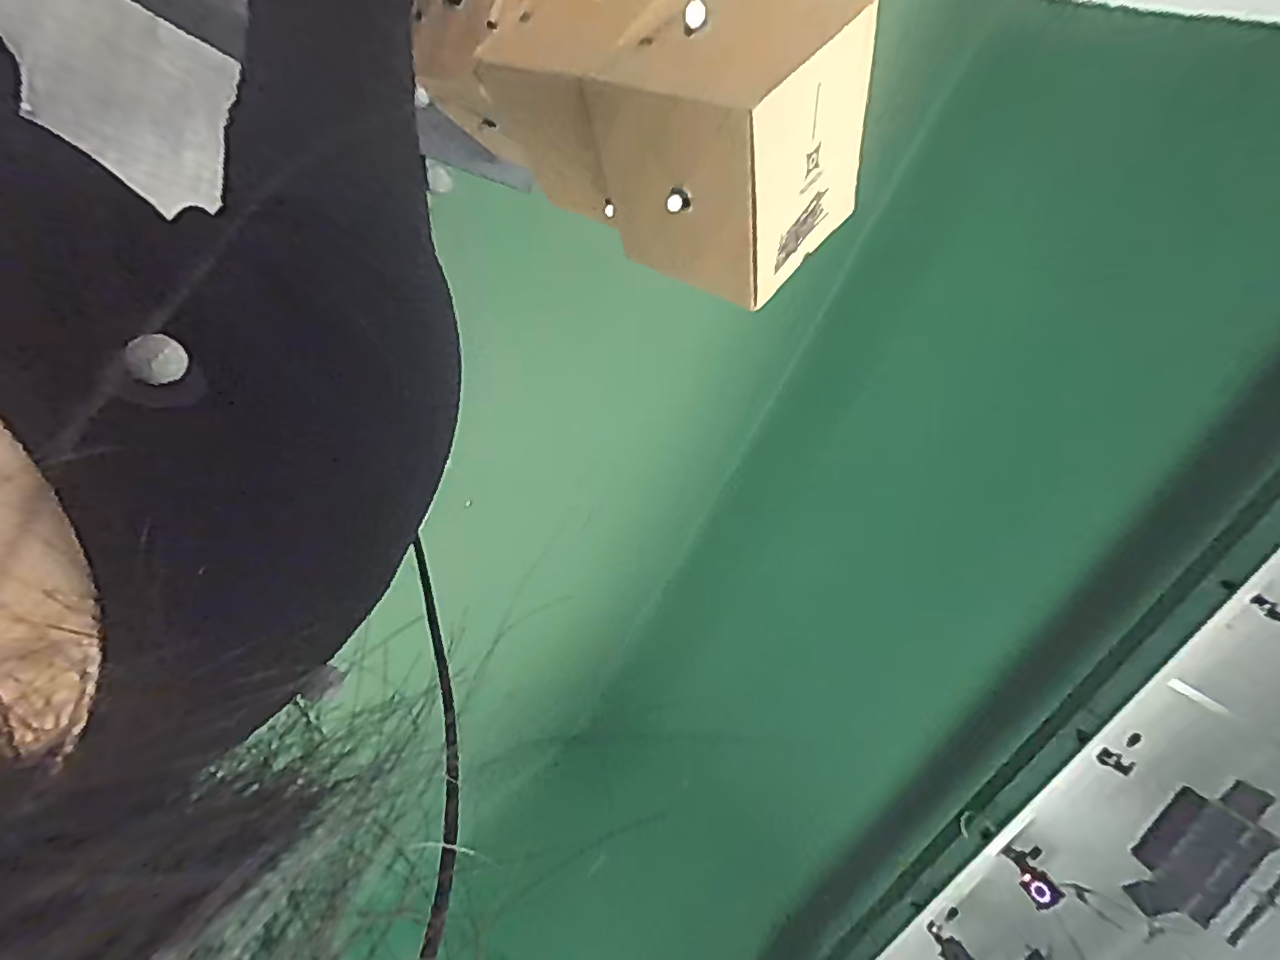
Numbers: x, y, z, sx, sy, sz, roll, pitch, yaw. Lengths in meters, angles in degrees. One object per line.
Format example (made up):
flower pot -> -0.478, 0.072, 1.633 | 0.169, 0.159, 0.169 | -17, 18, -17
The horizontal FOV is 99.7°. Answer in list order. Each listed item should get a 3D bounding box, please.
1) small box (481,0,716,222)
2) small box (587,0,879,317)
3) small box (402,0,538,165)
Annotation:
small box -> -0.028, -0.391, 0.560 | 0.168, 0.176, 0.179 | -52, 152, -8
small box -> 0.080, -0.288, 0.487 | 0.168, 0.176, 0.179 | -47, 150, -17
small box -> -0.141, -0.486, 0.631 | 0.179, 0.176, 0.168 | 10, 111, -58
